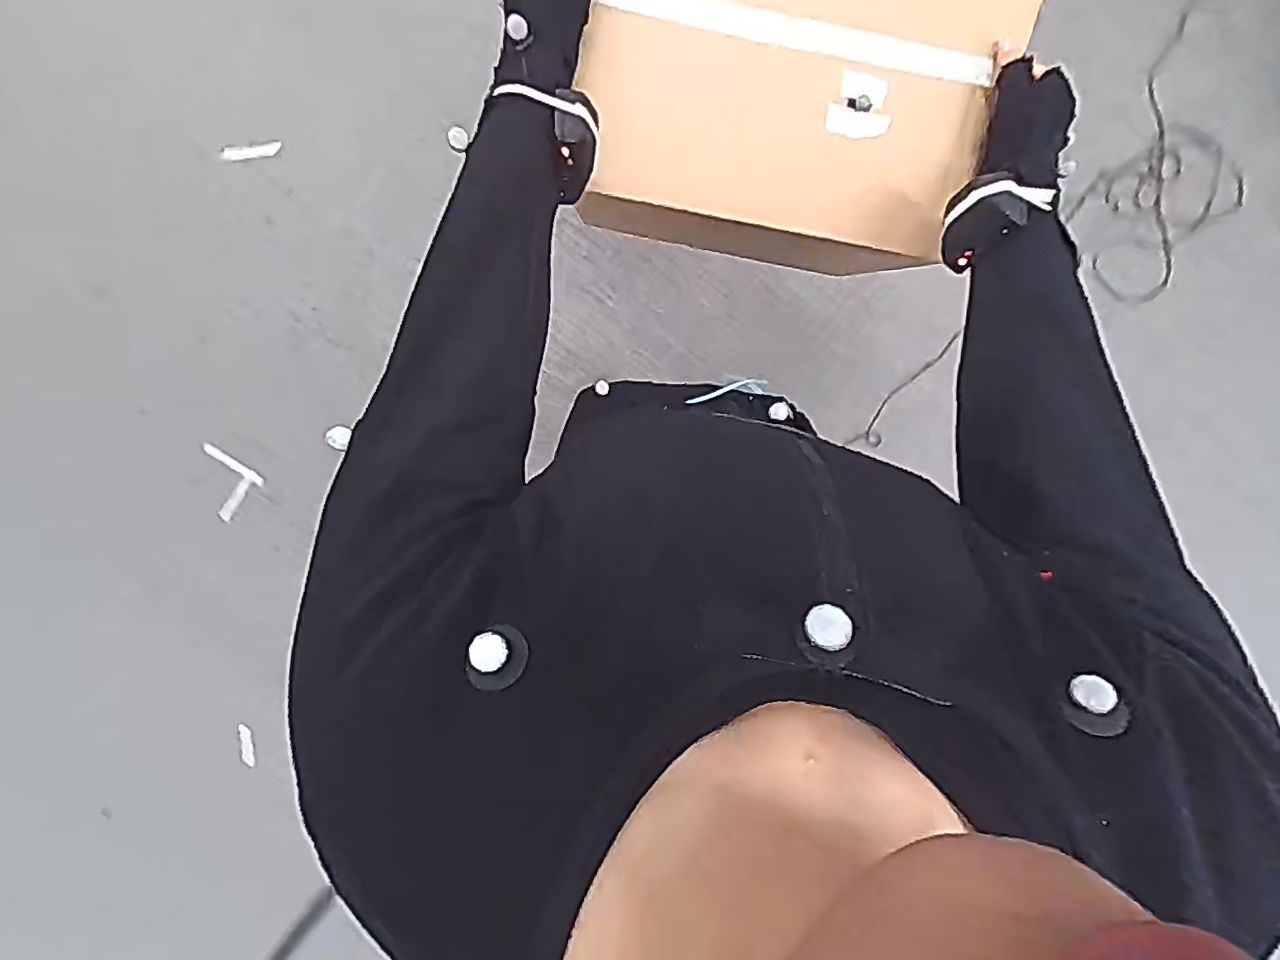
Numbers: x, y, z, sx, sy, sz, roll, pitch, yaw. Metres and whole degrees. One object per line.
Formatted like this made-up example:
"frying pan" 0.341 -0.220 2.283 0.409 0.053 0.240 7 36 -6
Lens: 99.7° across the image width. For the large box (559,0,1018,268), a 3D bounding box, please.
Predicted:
"large box" 0.131 -0.448 0.636 0.408 0.320 0.320 8 108 -4
